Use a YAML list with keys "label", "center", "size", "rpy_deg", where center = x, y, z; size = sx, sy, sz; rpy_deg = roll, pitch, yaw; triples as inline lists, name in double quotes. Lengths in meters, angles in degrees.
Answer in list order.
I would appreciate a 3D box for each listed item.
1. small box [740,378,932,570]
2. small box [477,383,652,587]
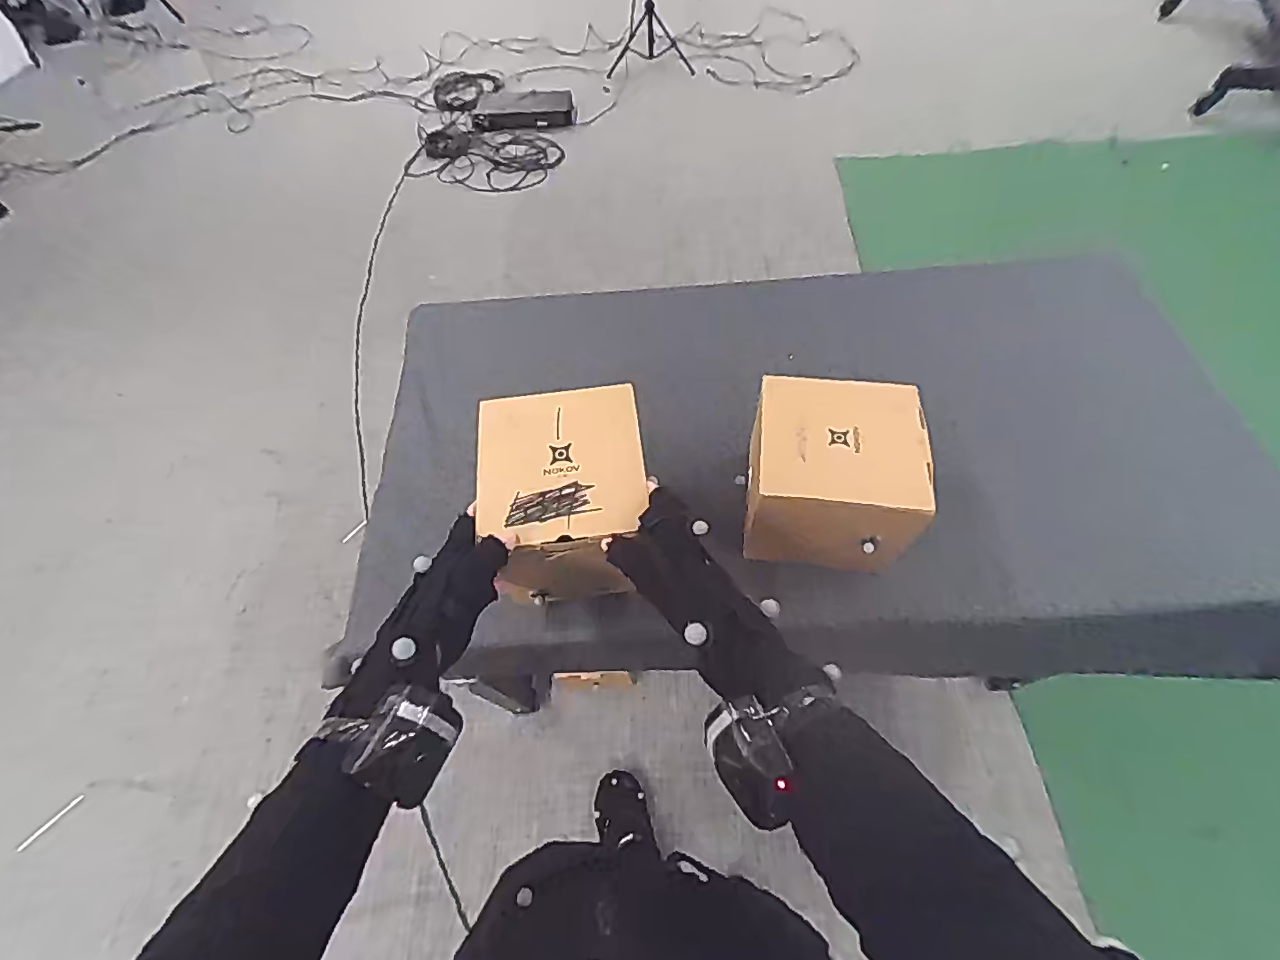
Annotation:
- label: "small box"
  center: [0.223, 0.000, 0.658]
  size: [0.179, 0.176, 0.168]
  rpy_deg: [6, 60, 7]
- label: "small box"
  center: [-0.075, 0.016, 0.613]
  size: [0.168, 0.176, 0.179]
  rpy_deg: [-5, 61, -1]
